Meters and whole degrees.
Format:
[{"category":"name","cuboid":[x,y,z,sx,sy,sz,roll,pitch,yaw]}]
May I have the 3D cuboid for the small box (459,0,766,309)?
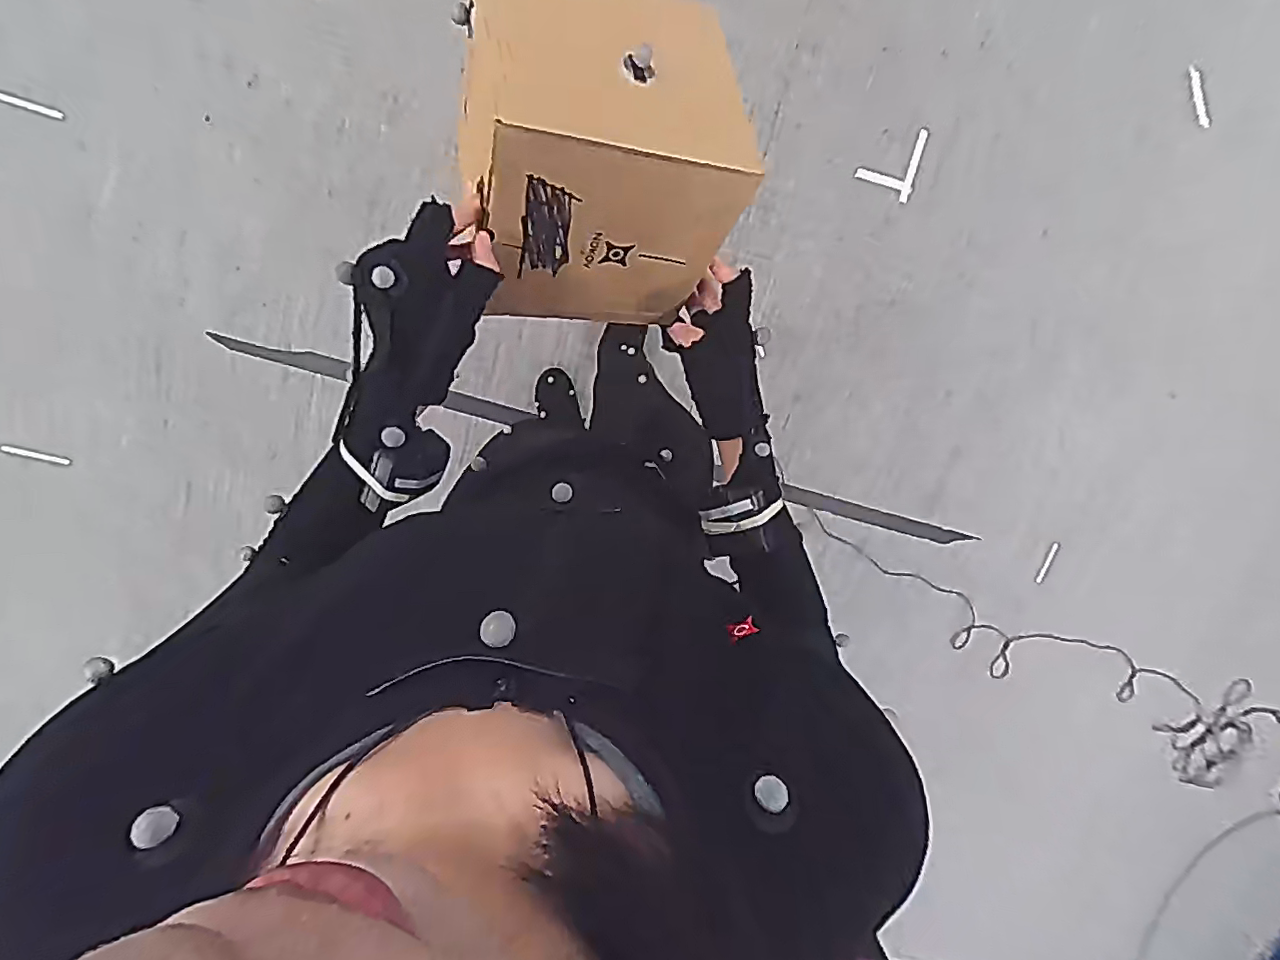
[{"category":"small box","cuboid":[-0.039,-0.255,0.405,0.179,0.168,0.176,-2,70,-22]}]
